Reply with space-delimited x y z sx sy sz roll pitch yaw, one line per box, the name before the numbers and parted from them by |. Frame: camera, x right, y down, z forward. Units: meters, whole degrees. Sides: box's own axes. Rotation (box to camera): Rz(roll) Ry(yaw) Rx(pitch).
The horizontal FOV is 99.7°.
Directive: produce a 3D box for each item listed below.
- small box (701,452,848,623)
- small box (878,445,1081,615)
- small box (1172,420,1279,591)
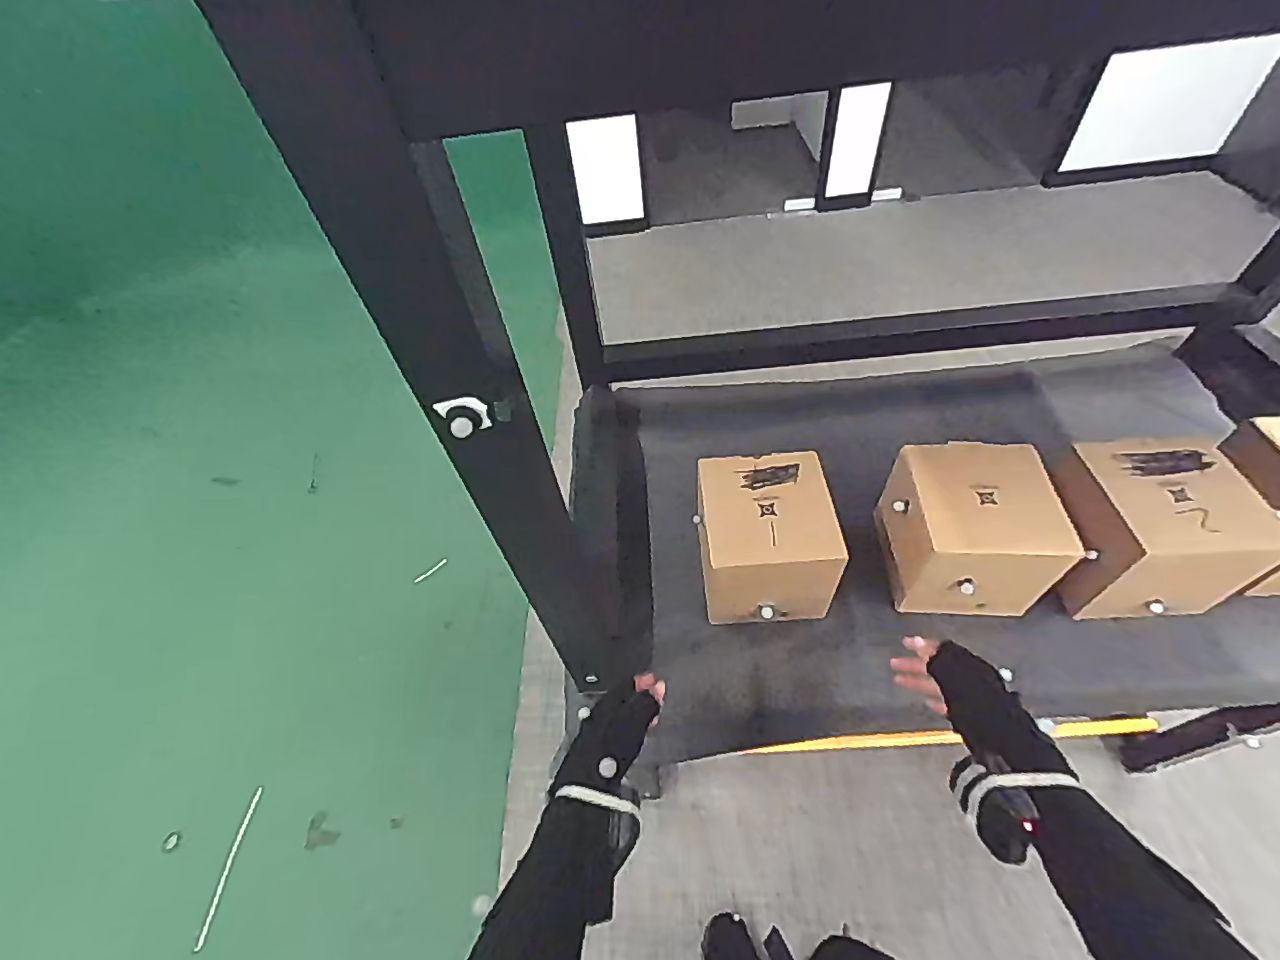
small box | 0.174 0.084 0.763 0.168 0.176 0.179 -5 52 3
small box | 0.442 0.071 0.742 0.168 0.176 0.179 1 51 8
small box | 0.881 0.037 0.710 0.168 0.176 0.179 -2 50 5
